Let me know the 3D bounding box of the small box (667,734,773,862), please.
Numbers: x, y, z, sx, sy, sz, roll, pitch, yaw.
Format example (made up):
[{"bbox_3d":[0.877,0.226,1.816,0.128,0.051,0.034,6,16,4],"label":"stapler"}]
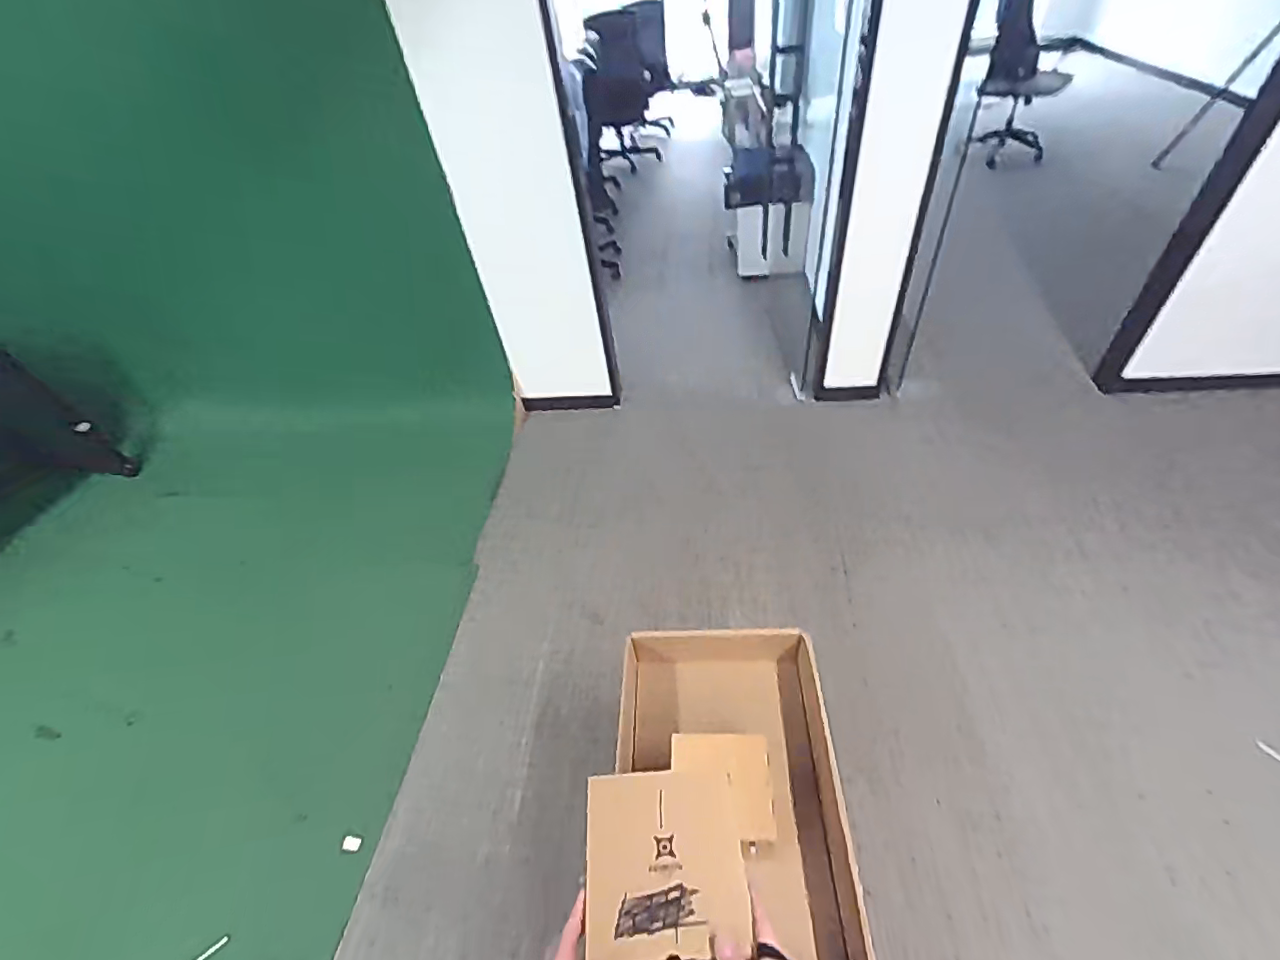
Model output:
[{"bbox_3d":[0.143,0.583,0.989,0.179,0.176,0.168,-2,45,6],"label":"small box"}]

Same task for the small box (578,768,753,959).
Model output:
[{"bbox_3d":[0.021,0.456,0.607,0.168,0.176,0.179,-3,37,-3],"label":"small box"}]
